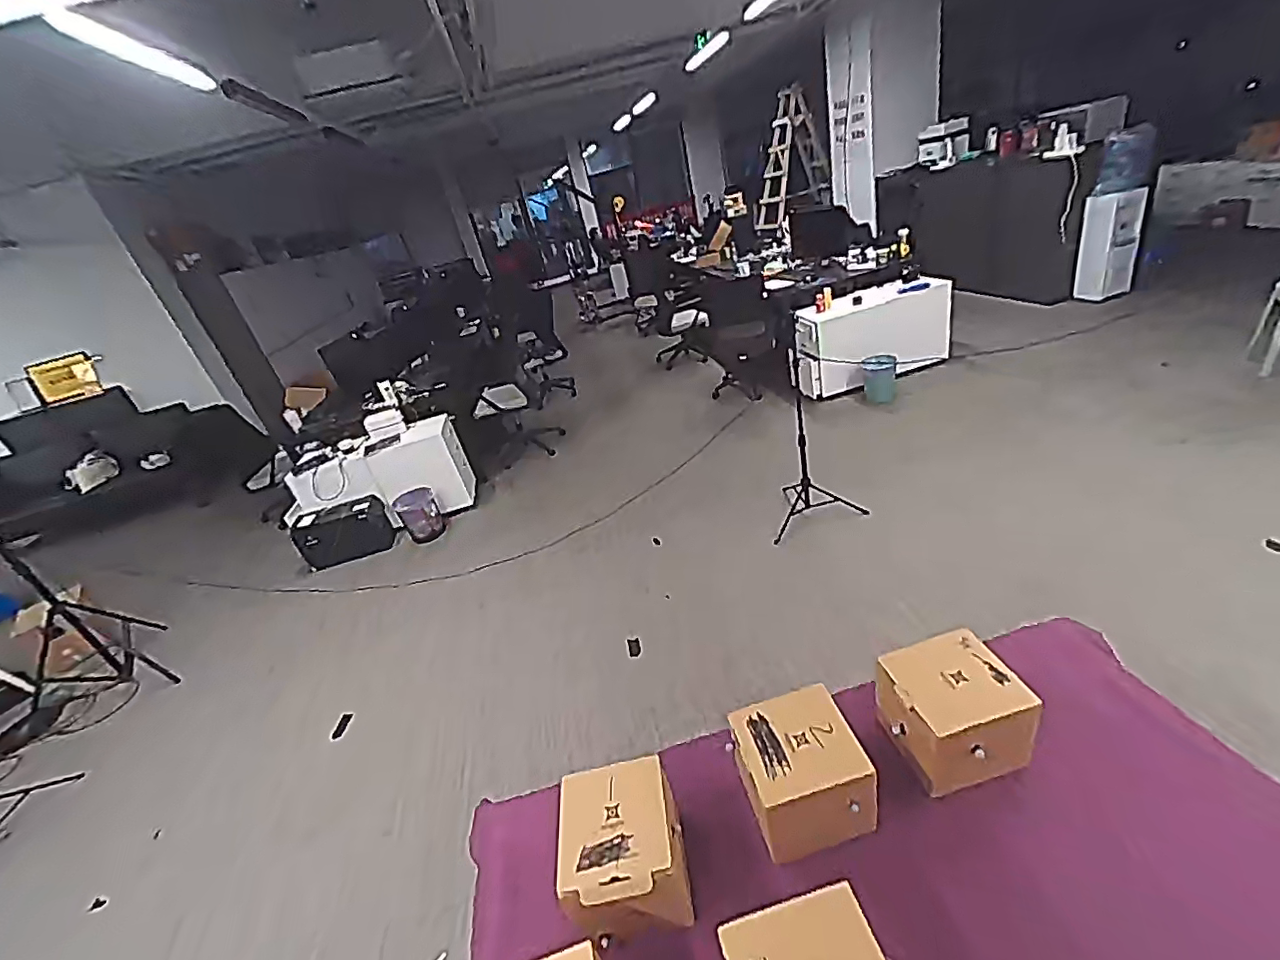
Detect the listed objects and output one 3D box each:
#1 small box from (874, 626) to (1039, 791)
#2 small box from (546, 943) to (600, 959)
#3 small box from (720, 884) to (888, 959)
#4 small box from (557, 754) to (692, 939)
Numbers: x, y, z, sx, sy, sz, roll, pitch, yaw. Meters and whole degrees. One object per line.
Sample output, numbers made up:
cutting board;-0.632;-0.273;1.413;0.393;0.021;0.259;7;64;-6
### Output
small box;0.522;0.384;0.909;0.179;0.176;0.168;-18;31;-2
small box;-0.101;0.707;0.631;0.168;0.176;0.179;-17;29;-8
small box;0.210;0.625;0.630;0.179;0.176;0.168;-17;29;-3
small box;-0.023;0.571;0.840;0.168;0.176;0.179;-14;28;2
